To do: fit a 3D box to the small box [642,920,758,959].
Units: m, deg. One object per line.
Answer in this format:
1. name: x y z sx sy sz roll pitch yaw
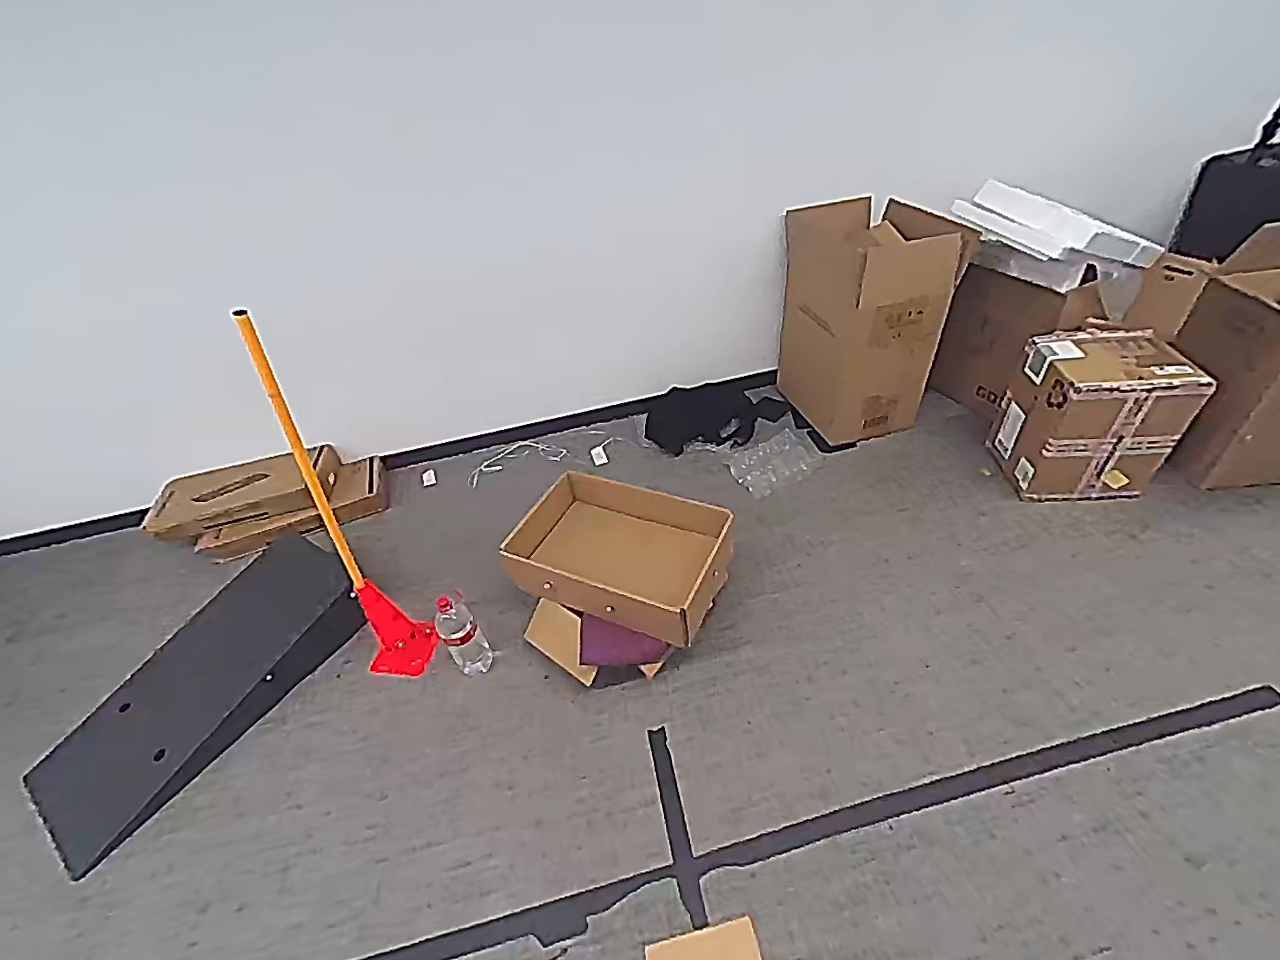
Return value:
1. small box: 0.107 0.789 0.790 0.168 0.176 0.179 -12 40 -5
